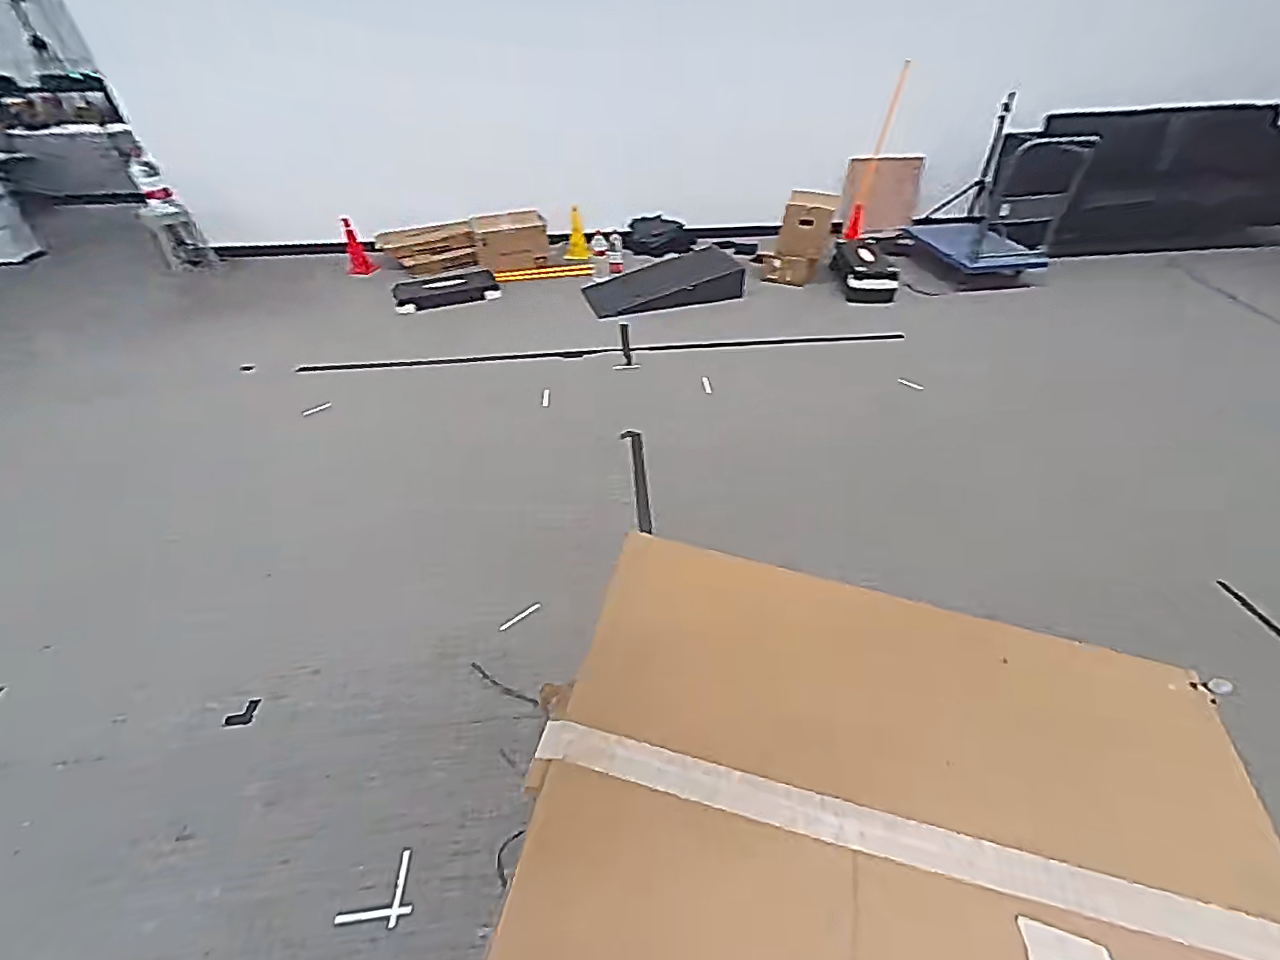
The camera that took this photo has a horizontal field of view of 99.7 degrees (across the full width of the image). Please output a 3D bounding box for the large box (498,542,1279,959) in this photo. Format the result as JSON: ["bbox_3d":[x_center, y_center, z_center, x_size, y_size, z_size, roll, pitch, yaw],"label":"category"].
[{"bbox_3d":[0.132,0.296,0.412,0.408,0.320,0.320,14,49,5],"label":"large box"}]
